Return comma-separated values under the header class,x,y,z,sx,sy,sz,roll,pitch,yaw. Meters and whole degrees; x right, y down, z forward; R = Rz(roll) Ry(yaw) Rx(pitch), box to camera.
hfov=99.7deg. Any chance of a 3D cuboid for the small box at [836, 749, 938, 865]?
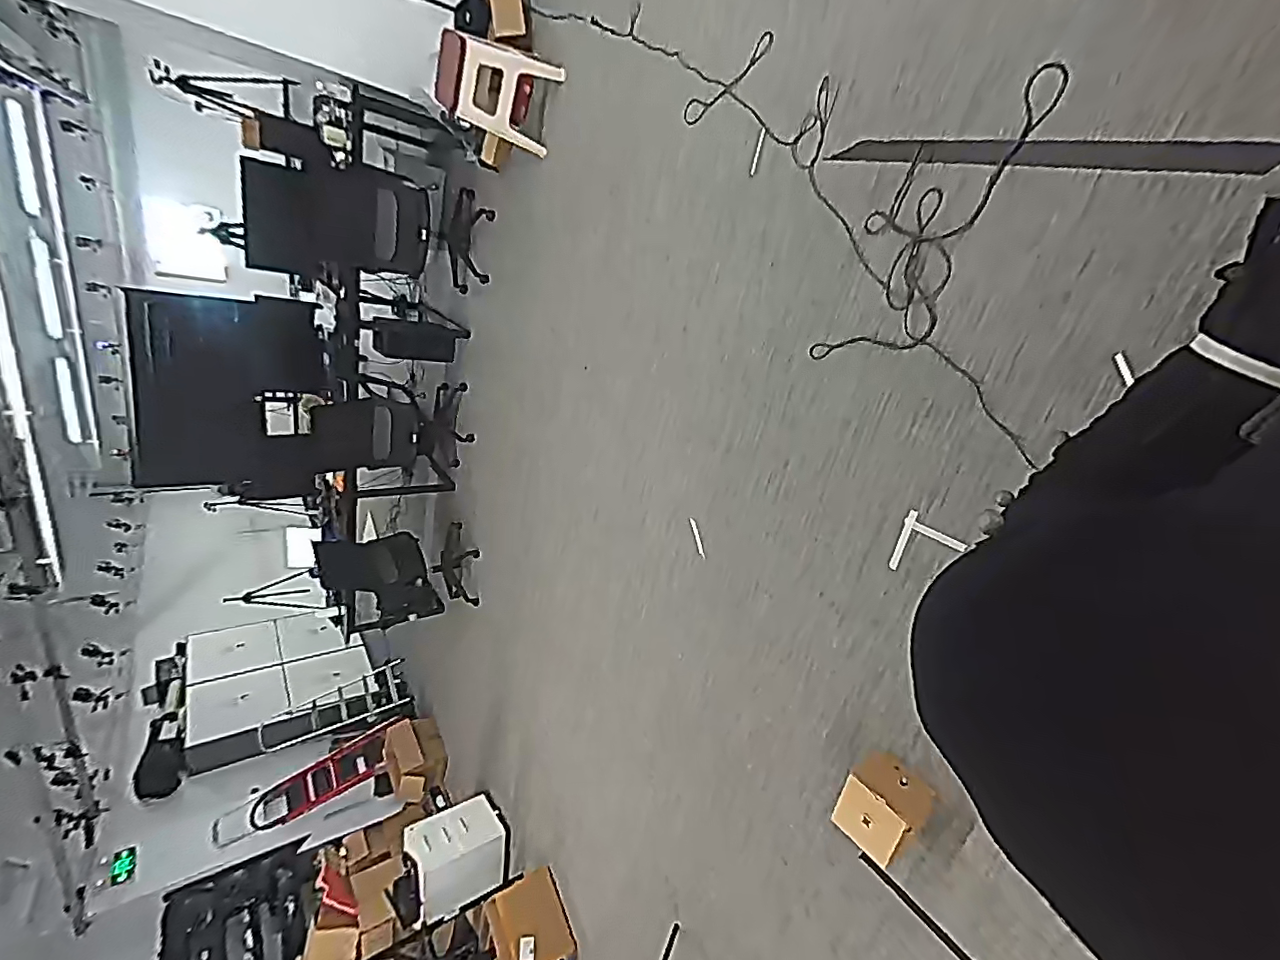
class,x,y,z,sx,sy,sz,roll,pitch,yaw
small box,0.668,0.873,1.457,0.168,0.176,0.179,32,119,46
